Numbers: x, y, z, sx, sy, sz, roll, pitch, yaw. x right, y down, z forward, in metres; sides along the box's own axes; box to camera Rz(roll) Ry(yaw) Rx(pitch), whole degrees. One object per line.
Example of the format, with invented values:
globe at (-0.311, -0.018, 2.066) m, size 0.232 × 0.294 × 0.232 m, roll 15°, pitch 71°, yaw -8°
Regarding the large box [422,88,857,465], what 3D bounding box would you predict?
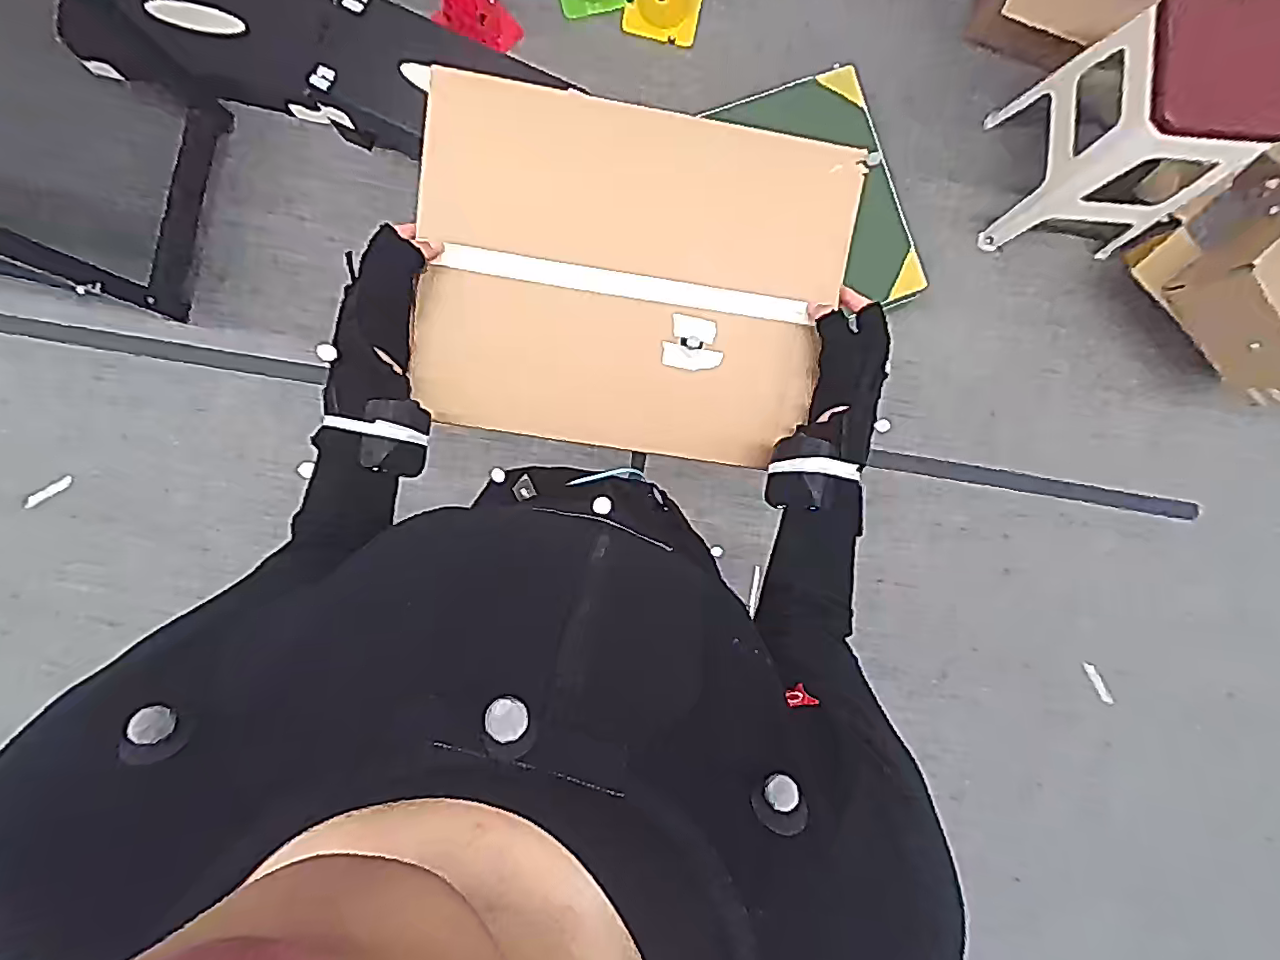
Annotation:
large box at (-0.015, -0.211, 0.678) m, size 0.408 × 0.320 × 0.320 m, roll 8°, pitch 100°, yaw -5°
